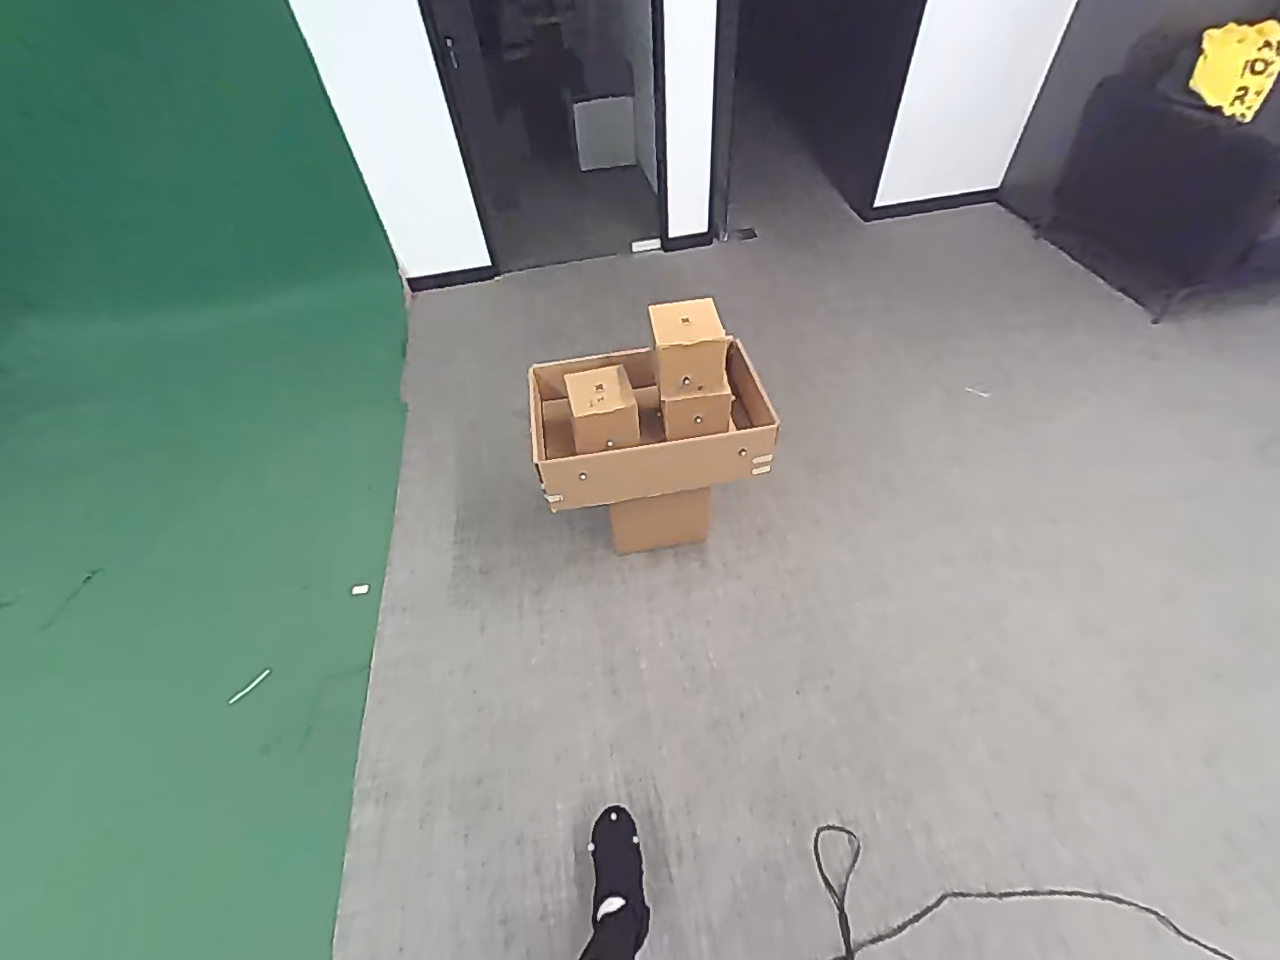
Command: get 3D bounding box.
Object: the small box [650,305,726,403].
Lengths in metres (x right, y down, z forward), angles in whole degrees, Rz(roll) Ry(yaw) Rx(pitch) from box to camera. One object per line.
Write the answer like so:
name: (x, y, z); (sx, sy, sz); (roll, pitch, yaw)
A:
small box: (0.117, -0.319, 1.376); (0.168, 0.176, 0.179); (-8, 49, -1)

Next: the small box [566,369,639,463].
small box: (-0.102, -0.173, 1.478); (0.168, 0.176, 0.179); (-12, 50, -6)
